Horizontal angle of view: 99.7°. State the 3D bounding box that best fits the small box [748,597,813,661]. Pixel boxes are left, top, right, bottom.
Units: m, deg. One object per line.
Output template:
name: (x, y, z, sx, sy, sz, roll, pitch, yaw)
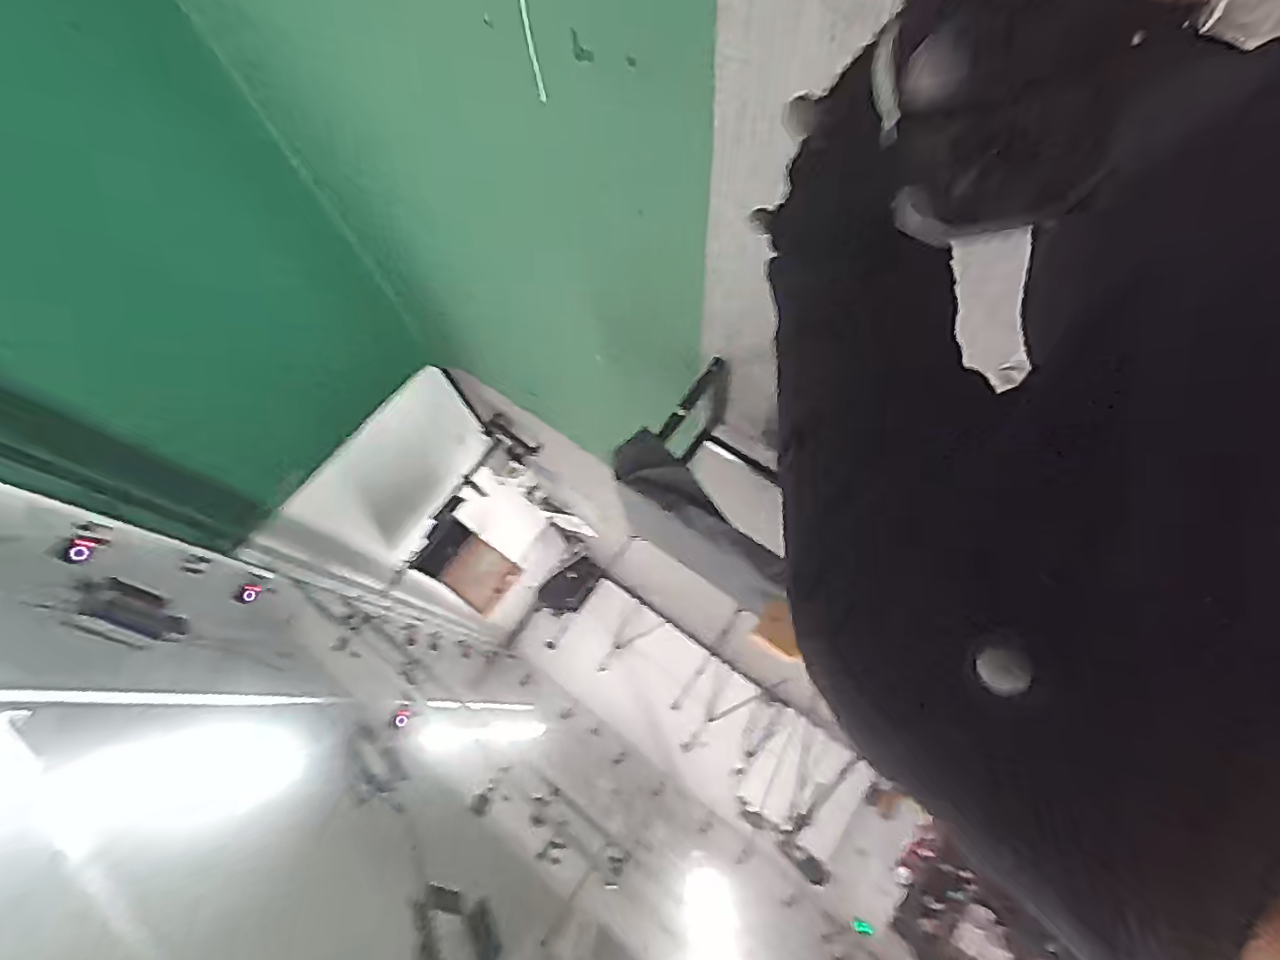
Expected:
small box: (0.538, 0.566, 2.079, 0.179, 0.176, 0.168, 31, 164, 20)
